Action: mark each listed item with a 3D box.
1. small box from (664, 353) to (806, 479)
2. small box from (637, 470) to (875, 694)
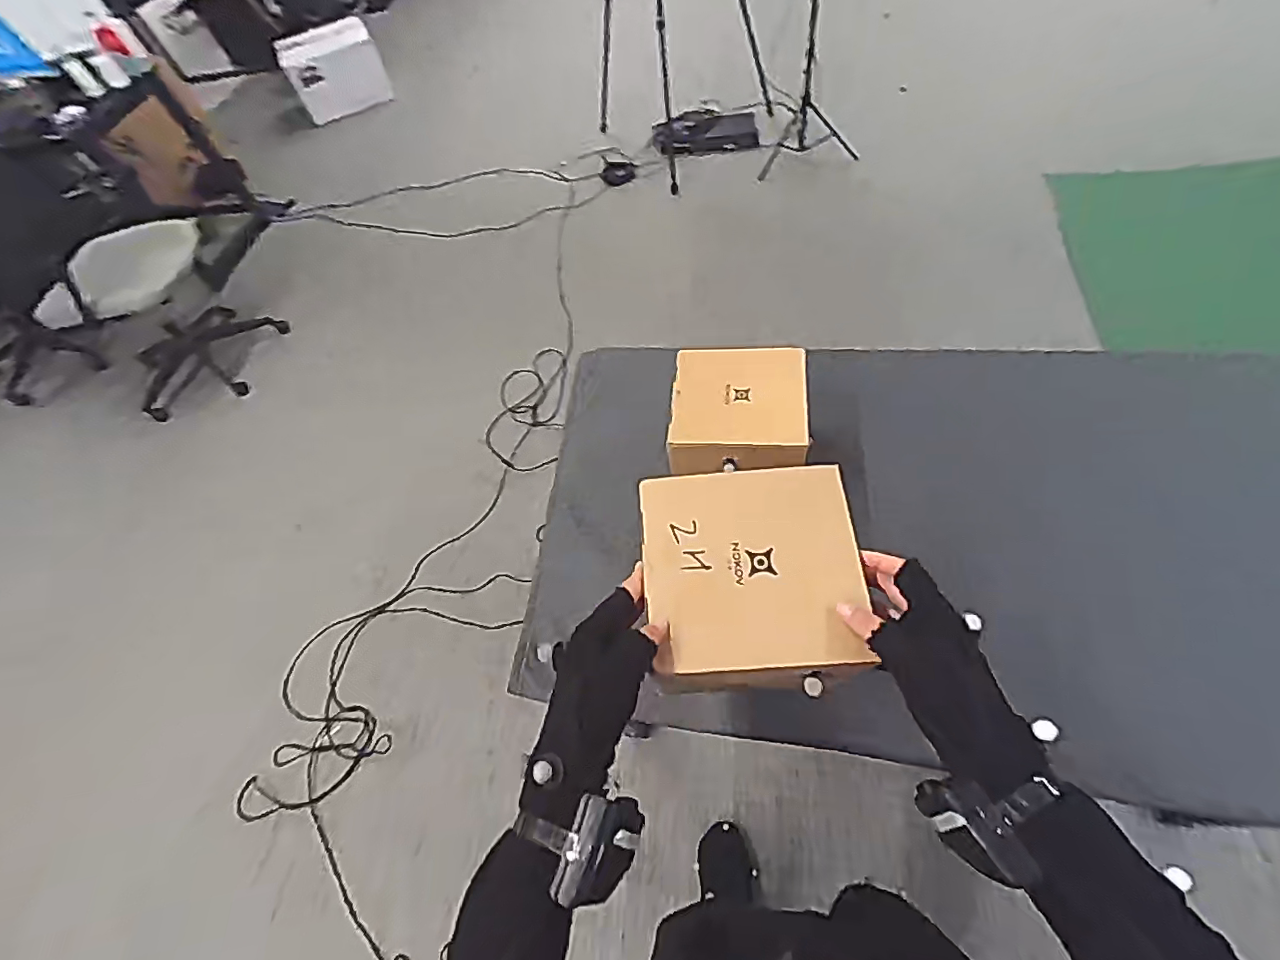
[{"bbox_3d":[0.137,-0.062,0.775,0.179,0.176,0.168,1,58,12],"label":"small box"},{"bbox_3d":[0.092,0.104,0.506,0.179,0.176,0.168,-4,63,4],"label":"small box"}]
